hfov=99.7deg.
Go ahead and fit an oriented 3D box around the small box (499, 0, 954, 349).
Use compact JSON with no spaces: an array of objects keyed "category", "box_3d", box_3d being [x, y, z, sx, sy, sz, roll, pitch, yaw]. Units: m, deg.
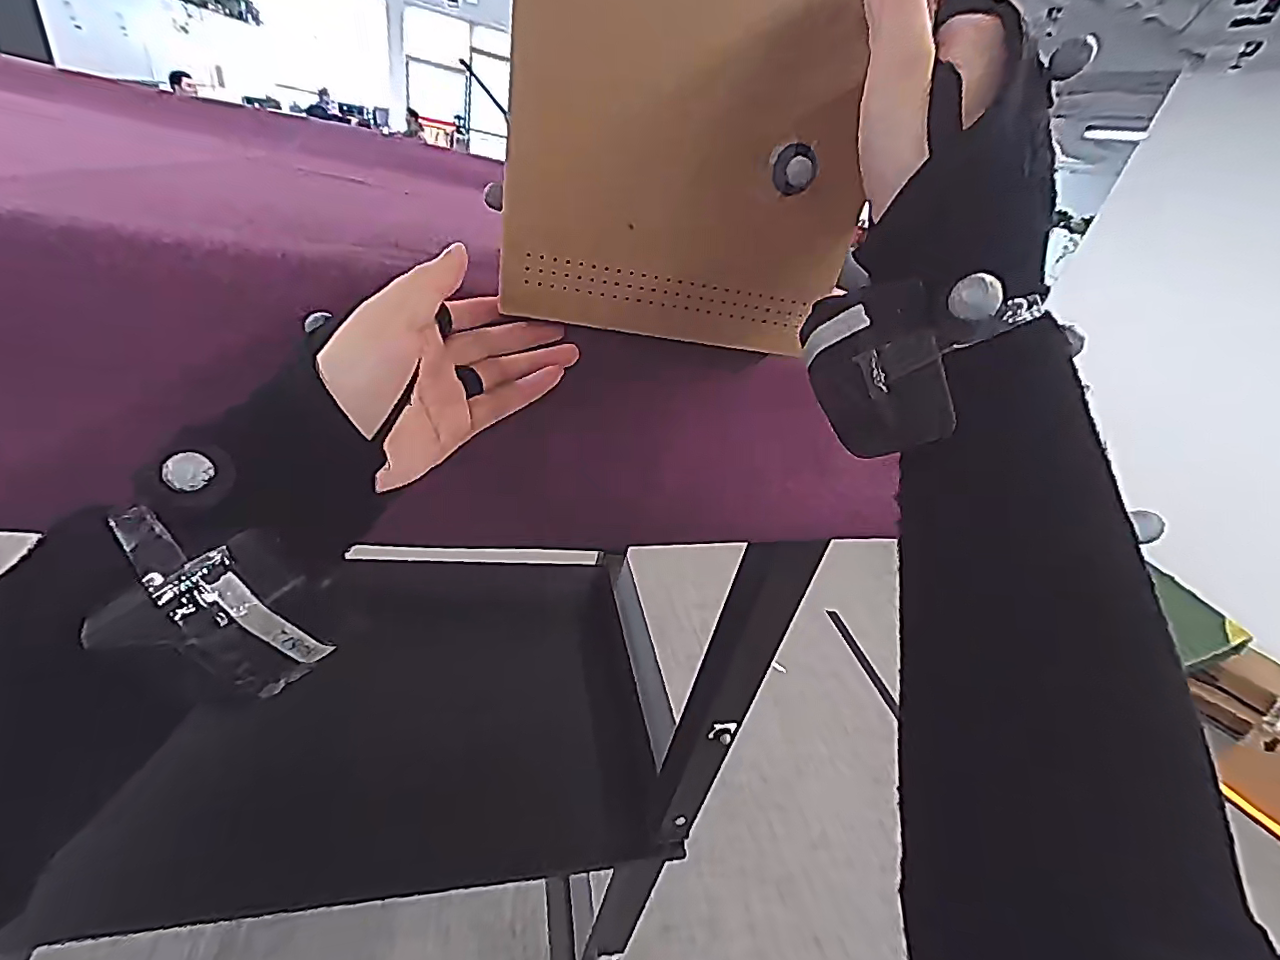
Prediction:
[{"category":"small box","box_3d":[0.021,-0.187,0.307,0.179,0.176,0.168,5,33,-12]}]
